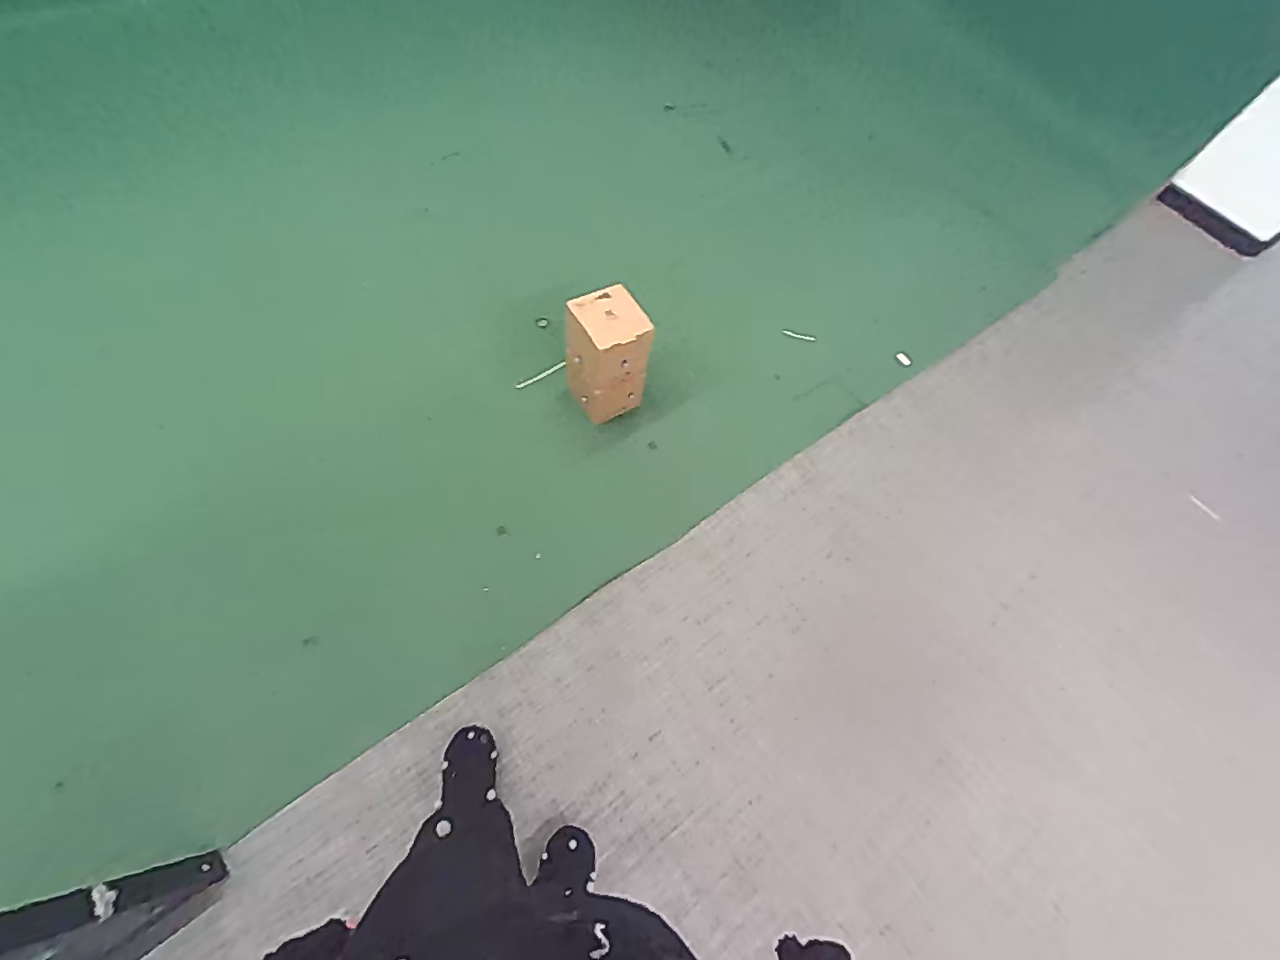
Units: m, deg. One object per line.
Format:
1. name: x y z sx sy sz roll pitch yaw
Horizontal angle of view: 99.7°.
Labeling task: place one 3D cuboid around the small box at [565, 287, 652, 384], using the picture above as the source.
1. small box: -0.089 -0.375 1.447 0.168 0.176 0.179 -26 71 -20

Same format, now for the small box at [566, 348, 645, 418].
1. small box: -0.105 -0.301 1.571 0.168 0.176 0.179 -24 69 -21
